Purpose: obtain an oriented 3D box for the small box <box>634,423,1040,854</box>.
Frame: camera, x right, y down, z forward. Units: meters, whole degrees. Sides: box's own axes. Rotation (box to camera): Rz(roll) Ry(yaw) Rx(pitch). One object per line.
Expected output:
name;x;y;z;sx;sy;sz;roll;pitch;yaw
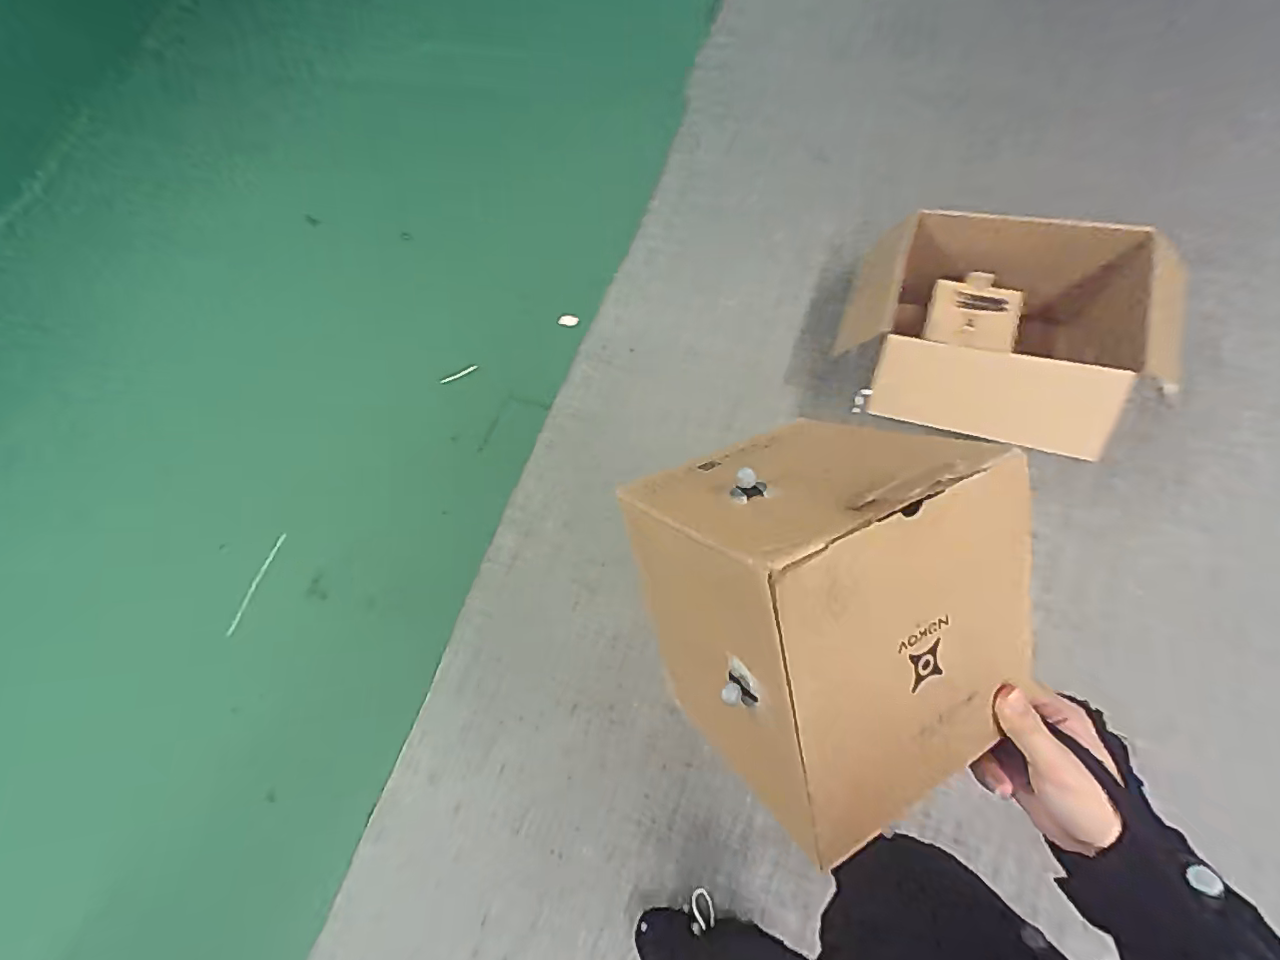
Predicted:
small box;0.111;0.066;0.340;0.168;0.176;0.179;-19;109;-20
